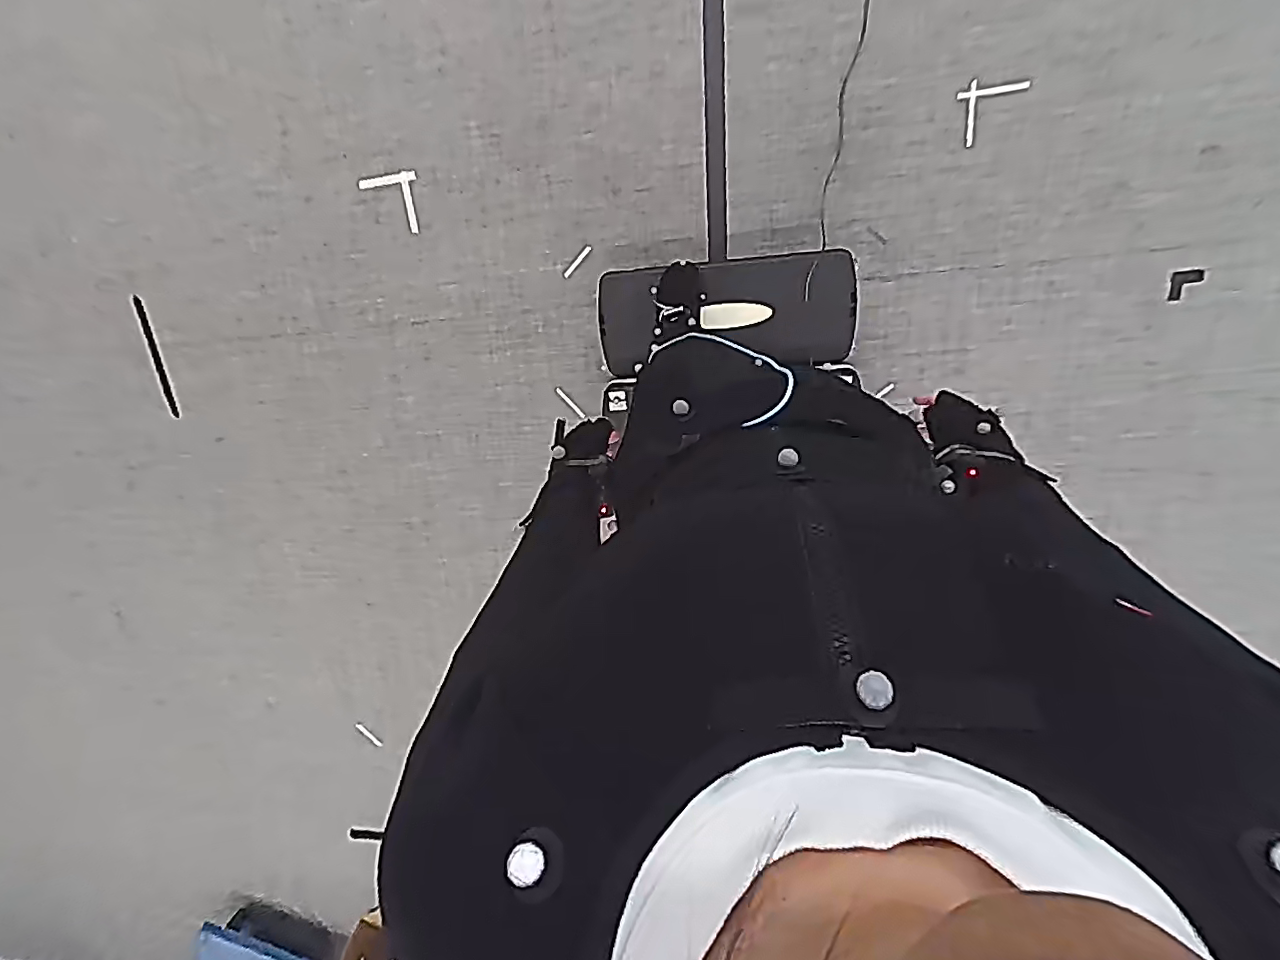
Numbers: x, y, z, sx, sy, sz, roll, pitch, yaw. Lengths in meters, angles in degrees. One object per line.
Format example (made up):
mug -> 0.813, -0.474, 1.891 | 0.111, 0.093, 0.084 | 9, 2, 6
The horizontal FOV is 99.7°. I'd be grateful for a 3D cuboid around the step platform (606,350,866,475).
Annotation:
step platform -> 0.250, -0.180, 1.477 | 0.684, 0.204, 0.286 | -3, 105, 10
